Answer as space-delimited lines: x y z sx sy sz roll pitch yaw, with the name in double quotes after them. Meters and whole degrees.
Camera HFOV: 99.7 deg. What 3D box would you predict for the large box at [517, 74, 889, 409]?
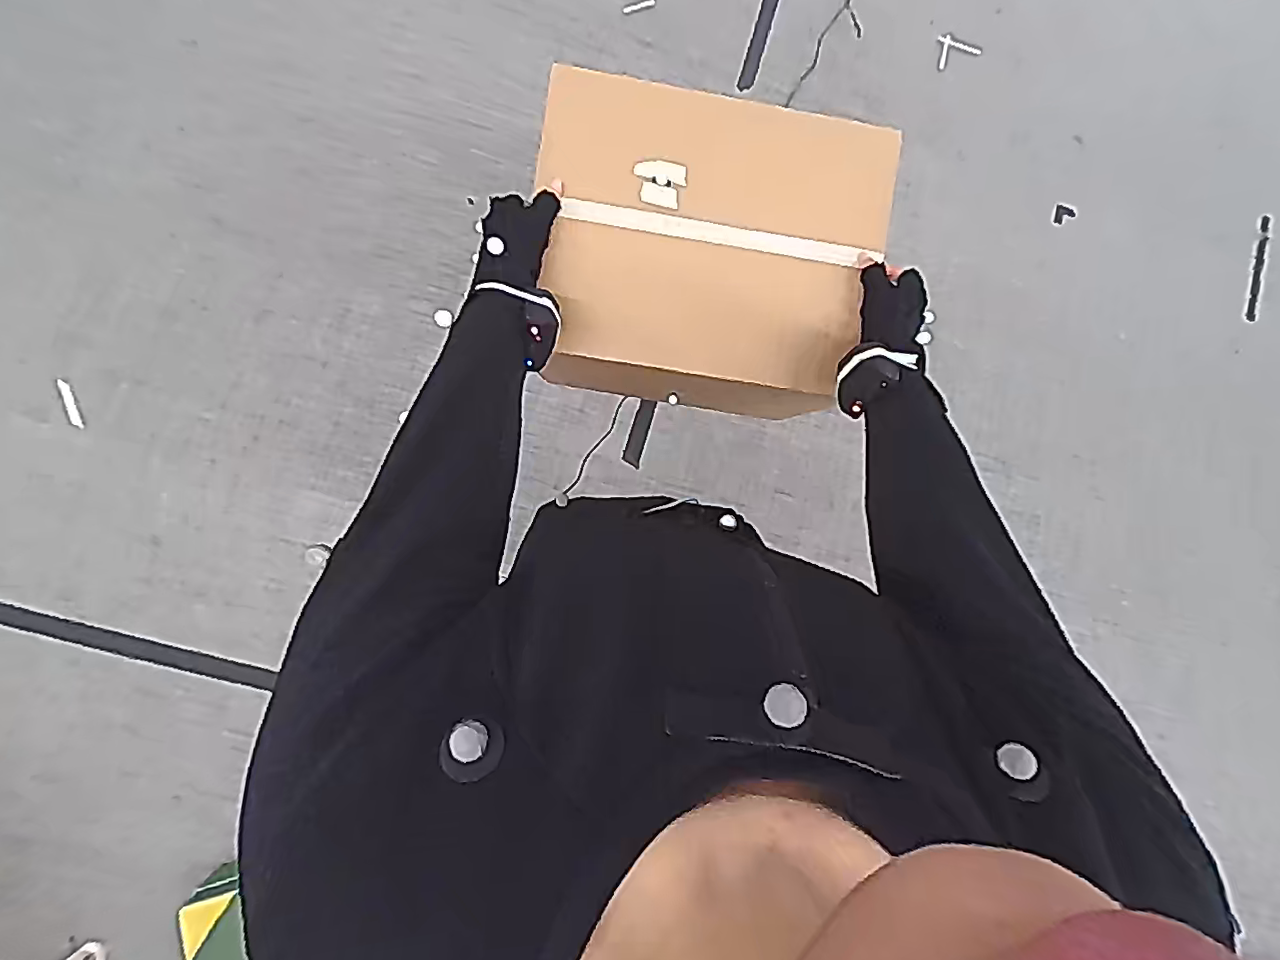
0.069 -0.287 0.770 0.408 0.320 0.320 8 91 -3 "large box"
